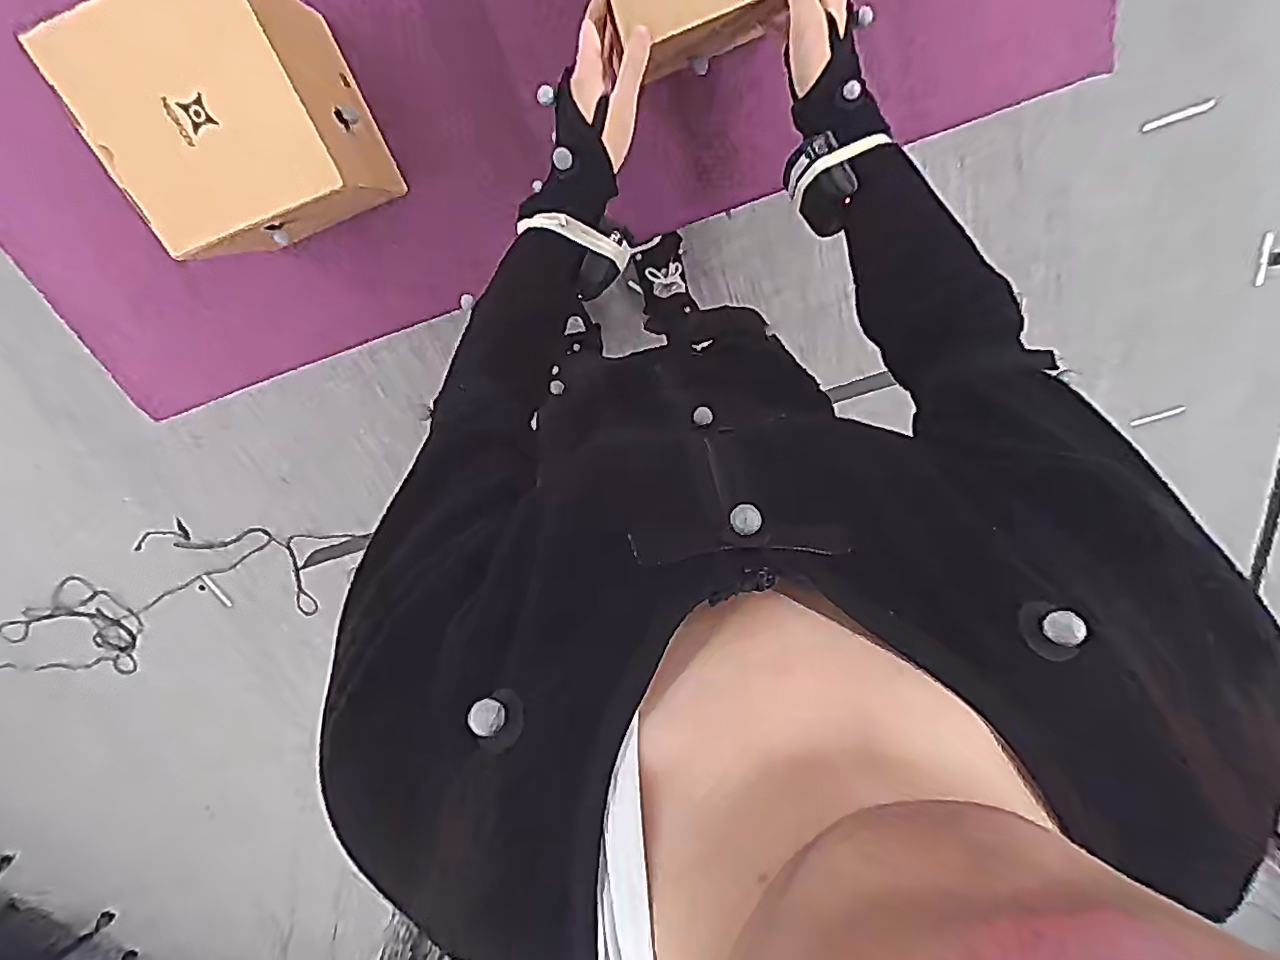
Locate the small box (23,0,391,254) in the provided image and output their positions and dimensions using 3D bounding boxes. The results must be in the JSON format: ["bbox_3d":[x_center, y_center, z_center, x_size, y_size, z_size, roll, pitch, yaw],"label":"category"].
[{"bbox_3d":[-0.360,-0.330,0.501,0.179,0.176,0.168,-19,117,7],"label":"small box"}]

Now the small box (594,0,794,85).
[{"bbox_3d":[0.032,-0.469,0.448,0.168,0.176,0.179,-18,117,6],"label":"small box"}]
